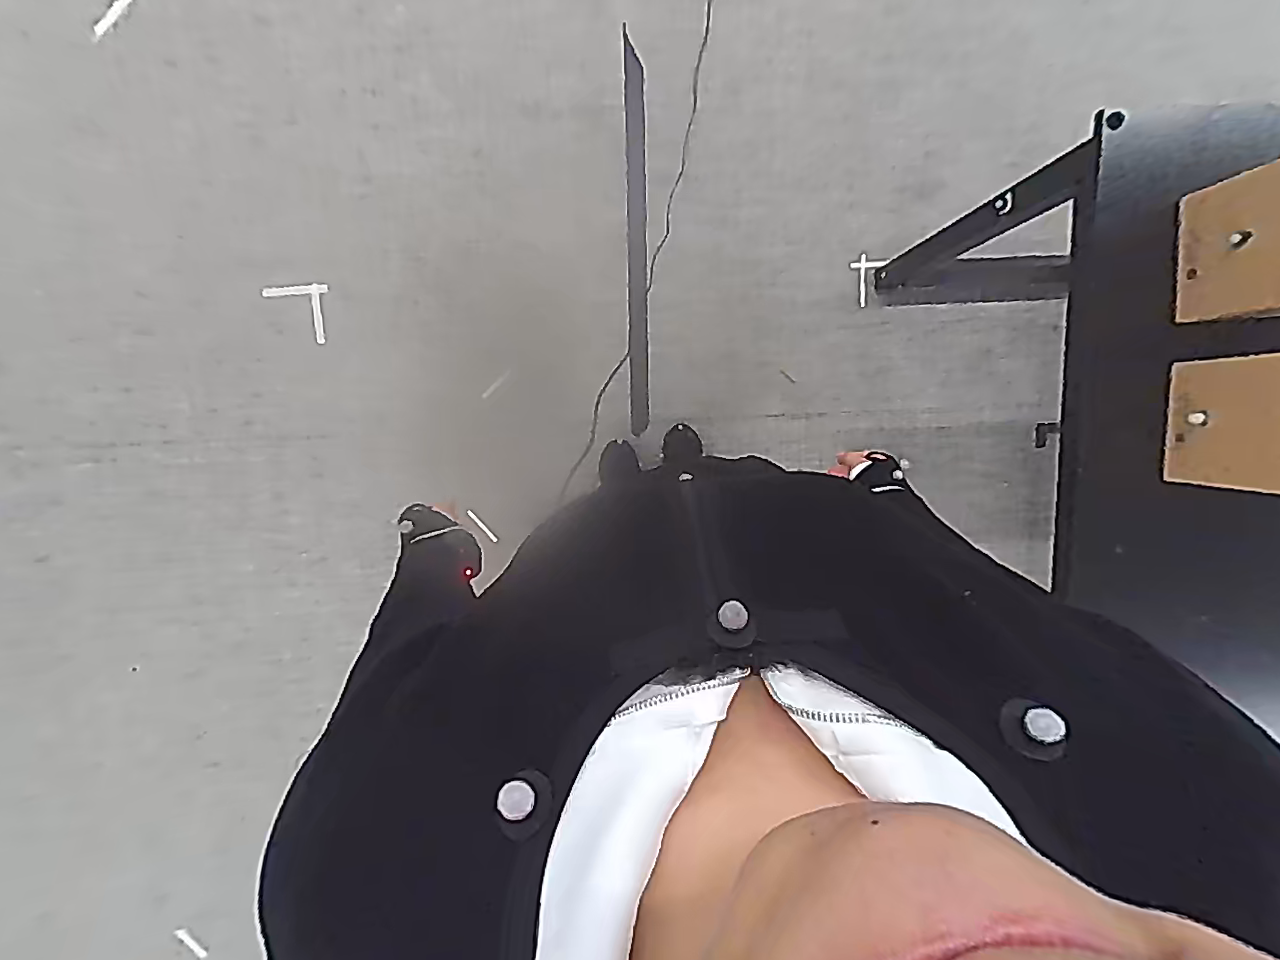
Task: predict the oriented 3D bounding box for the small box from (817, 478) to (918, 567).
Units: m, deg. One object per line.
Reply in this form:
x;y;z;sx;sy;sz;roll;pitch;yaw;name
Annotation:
0.593;0.105;1.437;0.168;0.176;0.179;19;95;-3;small box

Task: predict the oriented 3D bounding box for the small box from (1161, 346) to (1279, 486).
0.827;-0.084;0.680;0.179;0.176;0.168;-2;96;0;small box
